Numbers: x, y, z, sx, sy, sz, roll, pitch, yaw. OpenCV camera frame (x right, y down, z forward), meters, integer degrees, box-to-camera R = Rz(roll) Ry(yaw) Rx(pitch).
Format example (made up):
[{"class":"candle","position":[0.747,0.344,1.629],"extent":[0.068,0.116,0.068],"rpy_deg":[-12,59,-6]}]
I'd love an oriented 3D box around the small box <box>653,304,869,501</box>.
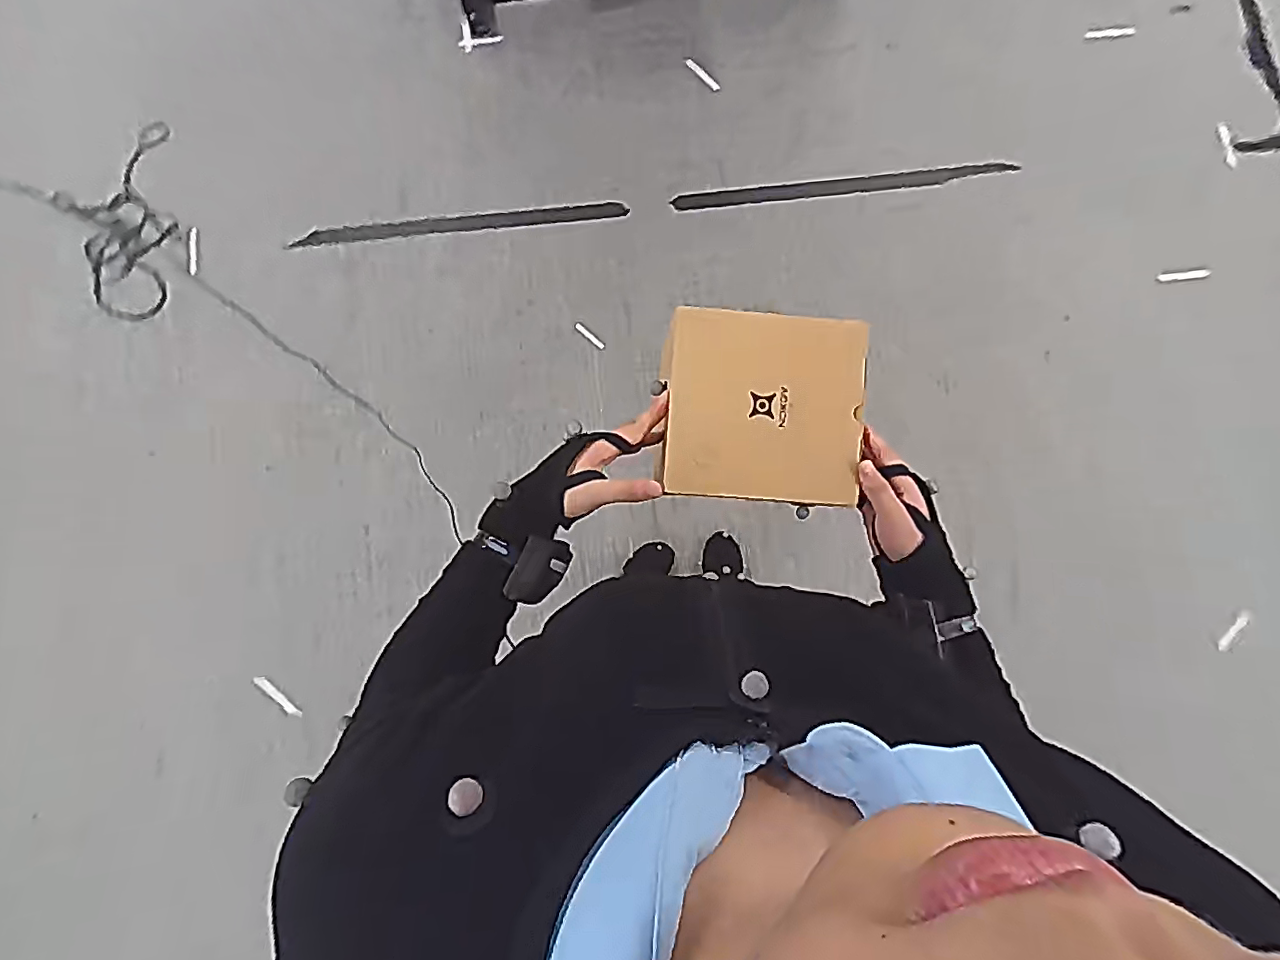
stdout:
[{"class":"small box","position":[0.107,-0.065,0.549],"extent":[0.179,0.176,0.168],"rpy_deg":[3,89,-3]}]
